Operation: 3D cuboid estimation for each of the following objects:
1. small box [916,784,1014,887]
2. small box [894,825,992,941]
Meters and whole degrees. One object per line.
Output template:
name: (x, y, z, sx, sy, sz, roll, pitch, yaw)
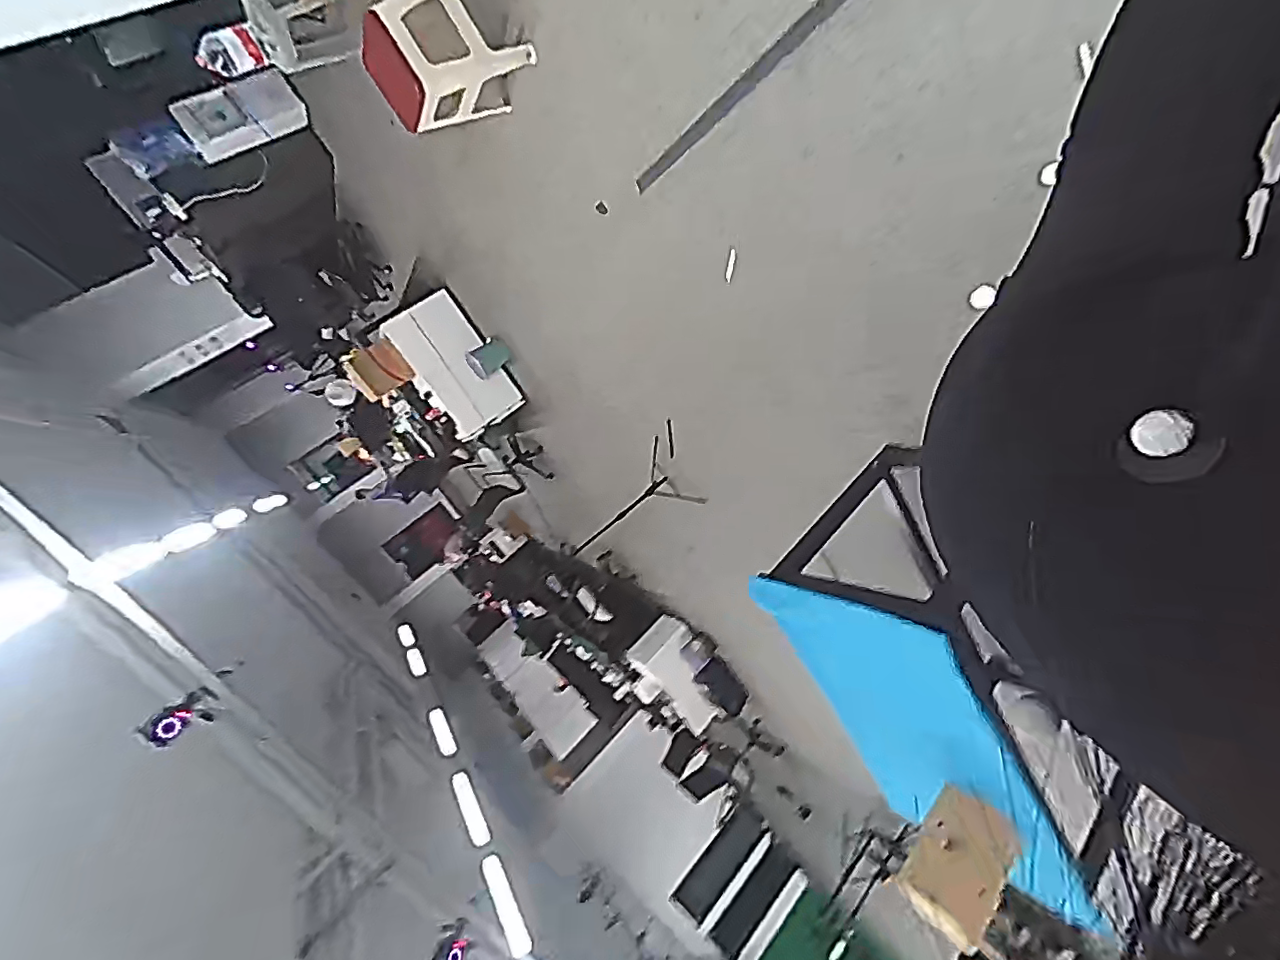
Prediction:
small box: (0.972, 1.052, 1.618, 0.168, 0.176, 0.179, 56, 155, -20)
small box: (0.859, 1.150, 1.544, 0.179, 0.176, 0.168, 57, 157, -18)
